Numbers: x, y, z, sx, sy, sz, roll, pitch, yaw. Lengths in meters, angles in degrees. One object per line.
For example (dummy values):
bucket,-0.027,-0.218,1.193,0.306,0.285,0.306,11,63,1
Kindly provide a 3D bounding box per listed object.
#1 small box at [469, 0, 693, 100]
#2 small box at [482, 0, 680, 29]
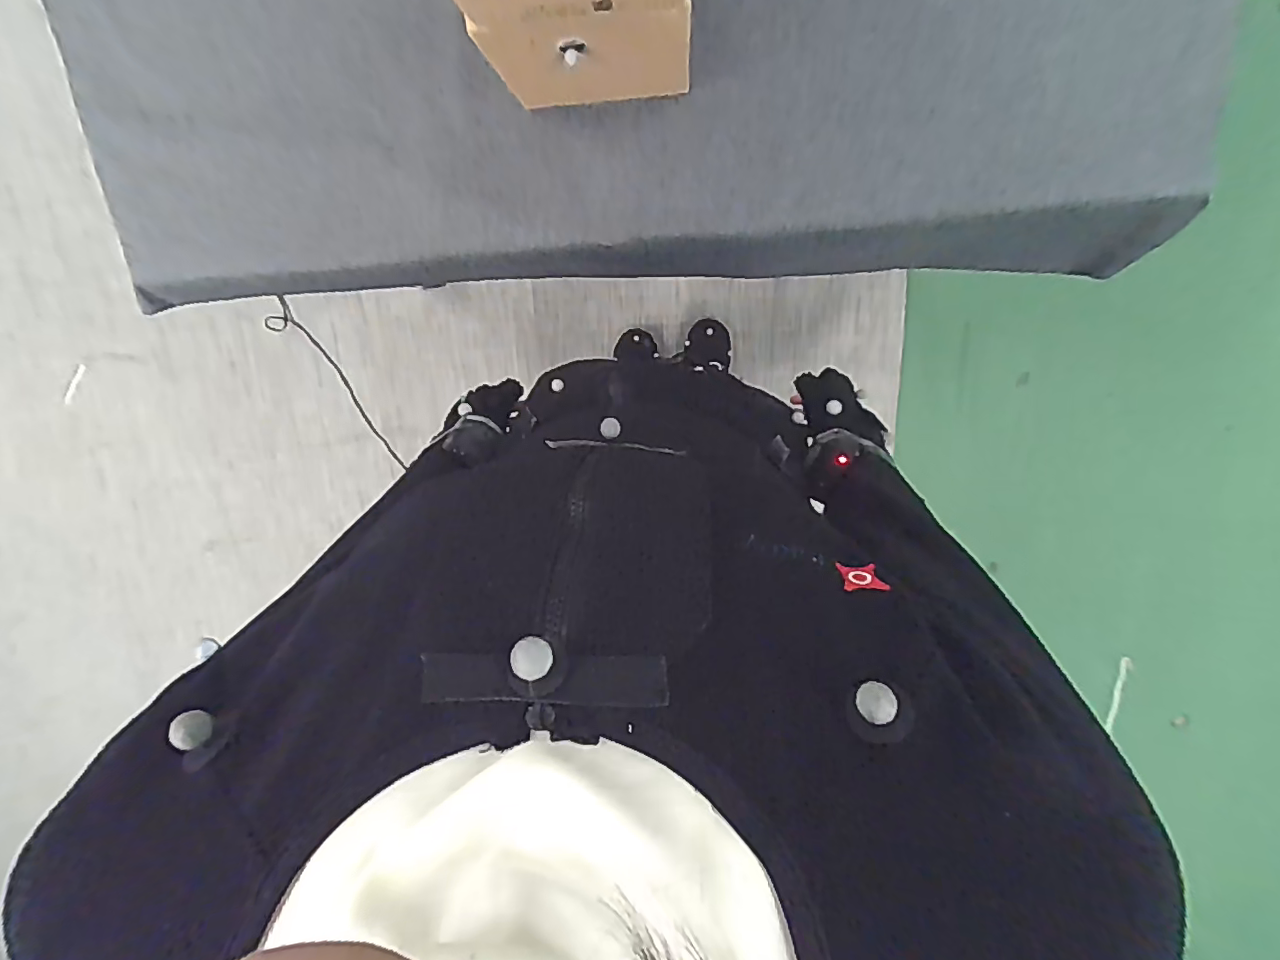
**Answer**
small box,-0.043,-0.461,0.474,0.179,0.176,0.168,-2,107,5
small box,-0.052,-0.418,0.319,0.168,0.176,0.179,-3,107,5
